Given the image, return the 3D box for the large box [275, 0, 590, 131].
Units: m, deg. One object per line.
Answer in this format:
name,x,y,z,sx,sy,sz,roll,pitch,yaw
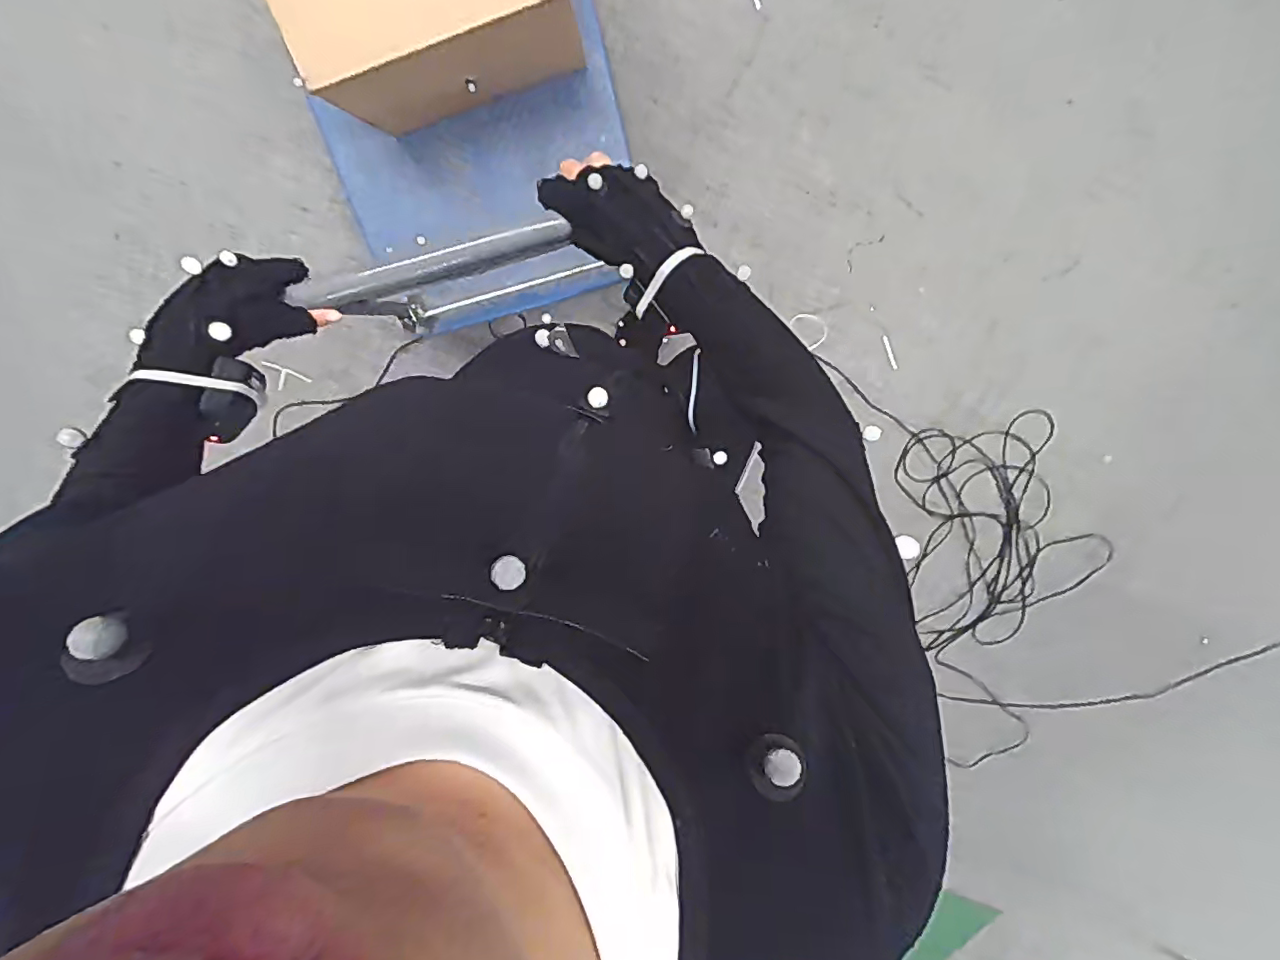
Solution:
large box,-0.326,-0.813,0.850,0.408,0.320,0.320,-15,110,7
